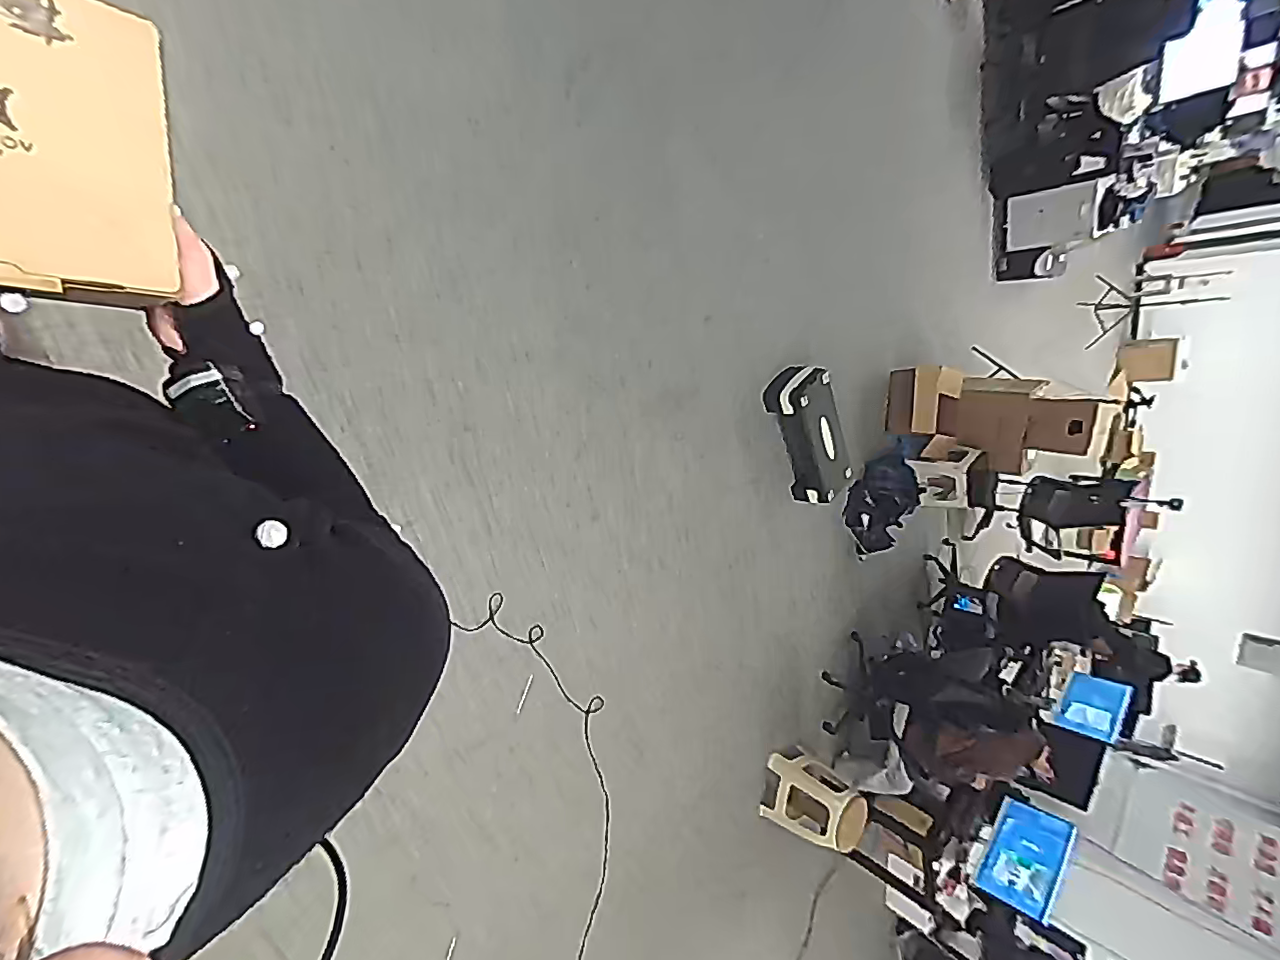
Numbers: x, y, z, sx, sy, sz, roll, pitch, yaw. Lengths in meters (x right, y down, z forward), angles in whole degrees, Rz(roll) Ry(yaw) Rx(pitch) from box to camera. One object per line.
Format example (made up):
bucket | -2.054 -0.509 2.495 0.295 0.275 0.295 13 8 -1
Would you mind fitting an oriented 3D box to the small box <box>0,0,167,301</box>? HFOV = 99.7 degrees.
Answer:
small box | -0.432 -0.219 0.350 0.168 0.176 0.179 -8 105 -49
